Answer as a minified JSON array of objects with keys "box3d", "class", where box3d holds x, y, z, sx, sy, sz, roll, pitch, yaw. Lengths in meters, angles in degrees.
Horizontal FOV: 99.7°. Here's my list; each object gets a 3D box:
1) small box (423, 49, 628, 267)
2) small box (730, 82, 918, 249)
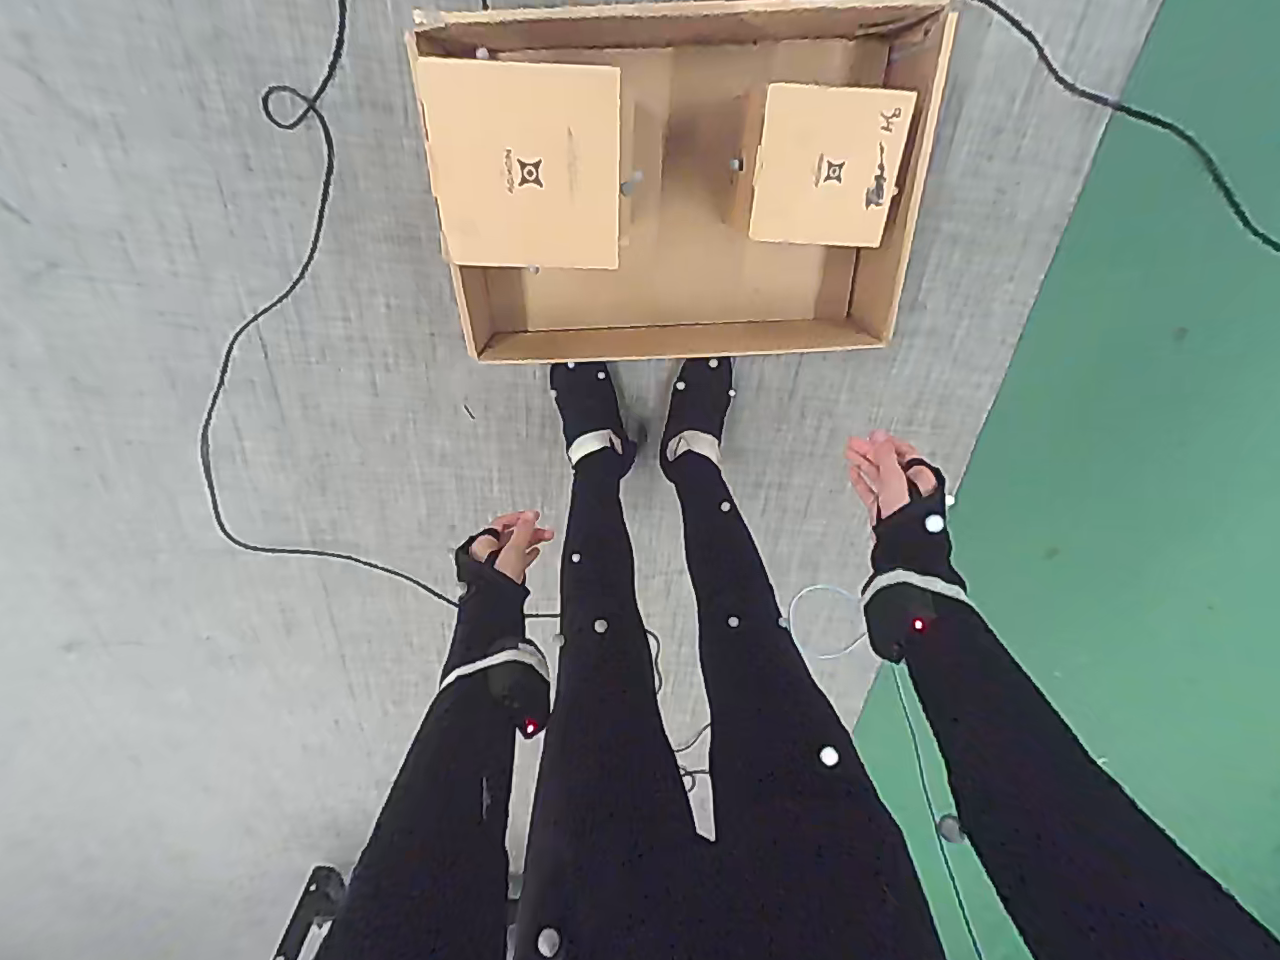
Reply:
[{"box3d":[-0.104,-0.328,0.566,0.179,0.176,0.168,1,121,-4],"class":"small box"},{"box3d":[0.224,-0.410,0.719,0.179,0.176,0.168,3,120,-3],"class":"small box"}]
